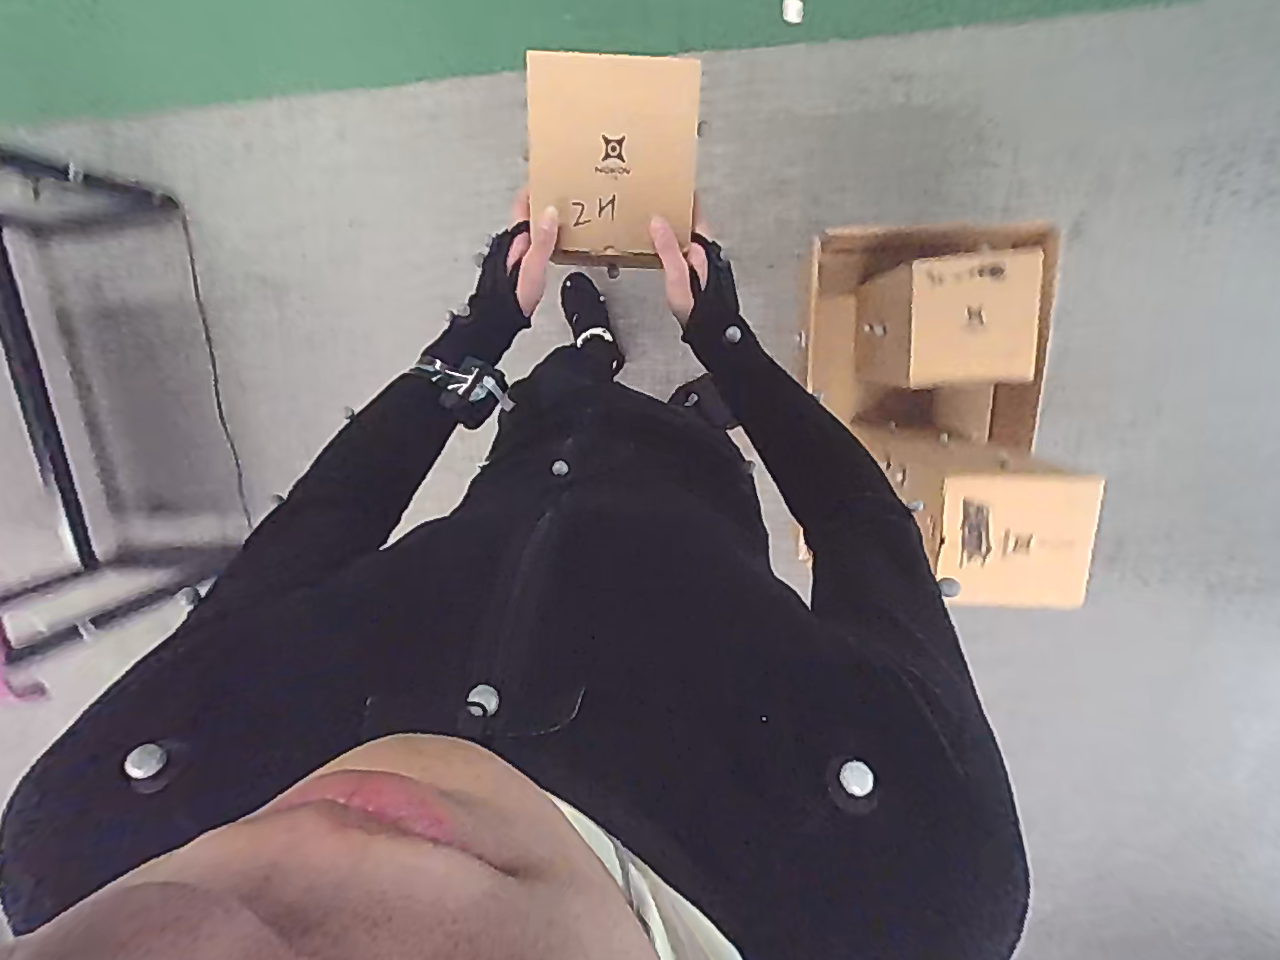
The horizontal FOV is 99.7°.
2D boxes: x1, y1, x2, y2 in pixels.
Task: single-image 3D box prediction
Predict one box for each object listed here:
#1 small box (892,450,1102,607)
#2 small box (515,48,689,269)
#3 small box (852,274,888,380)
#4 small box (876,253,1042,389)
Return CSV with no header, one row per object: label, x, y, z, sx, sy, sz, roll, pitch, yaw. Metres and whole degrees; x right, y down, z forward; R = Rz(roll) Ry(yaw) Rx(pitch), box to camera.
small box,0.459,0.055,0.729,0.179,0.176,0.168,1,103,6
small box,-0.039,-0.339,0.603,0.168,0.176,0.179,1,107,-1
small box,0.494,-0.276,0.988,0.168,0.176,0.179,0,104,8
small box,0.473,-0.239,0.830,0.168,0.176,0.179,-2,104,8
